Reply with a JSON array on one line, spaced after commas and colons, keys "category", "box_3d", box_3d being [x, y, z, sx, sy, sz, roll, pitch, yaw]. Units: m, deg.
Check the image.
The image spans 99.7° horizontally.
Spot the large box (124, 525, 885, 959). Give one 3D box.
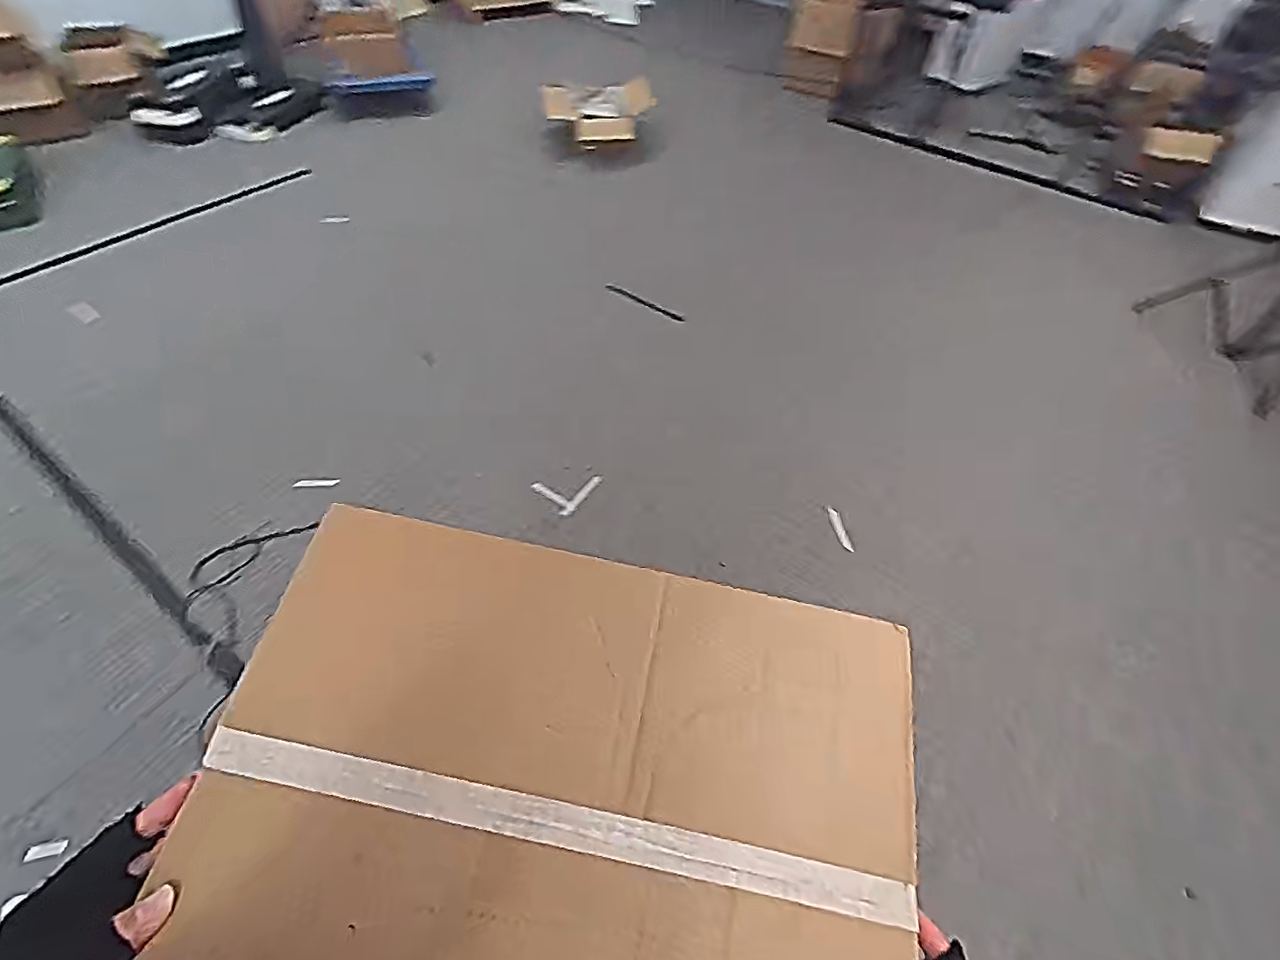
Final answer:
[{"category": "large box", "box_3d": [-0.064, 0.263, 0.449, 0.408, 0.320, 0.320, 11, 65, 2]}]
